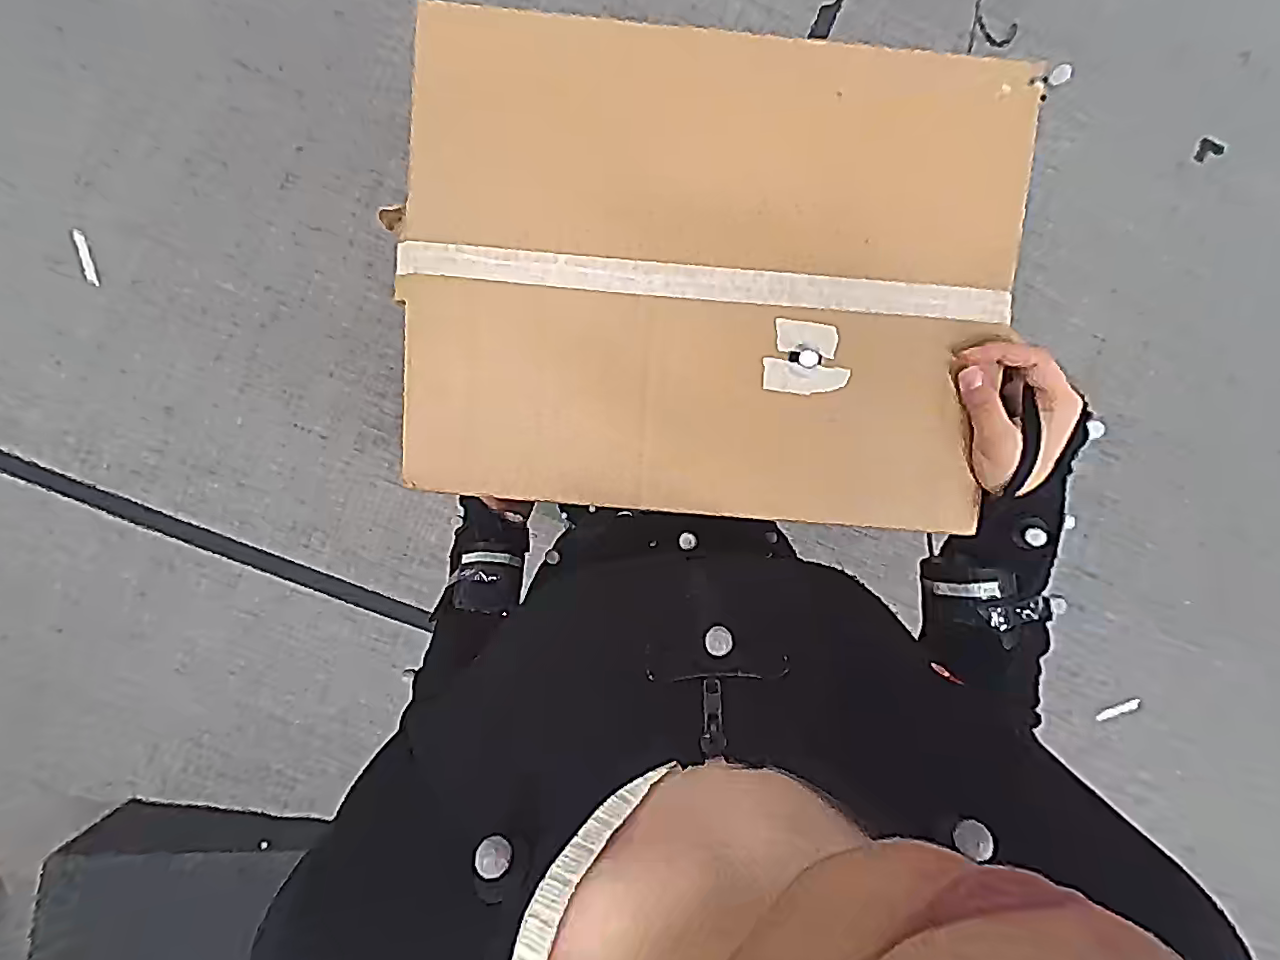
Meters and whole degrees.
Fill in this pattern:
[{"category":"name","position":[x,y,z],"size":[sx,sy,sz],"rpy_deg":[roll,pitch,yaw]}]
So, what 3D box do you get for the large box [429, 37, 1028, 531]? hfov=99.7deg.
[{"category":"large box","position":[0.051,-0.141,0.522],"size":[0.408,0.320,0.320],"rpy_deg":[5,97,-2]}]
